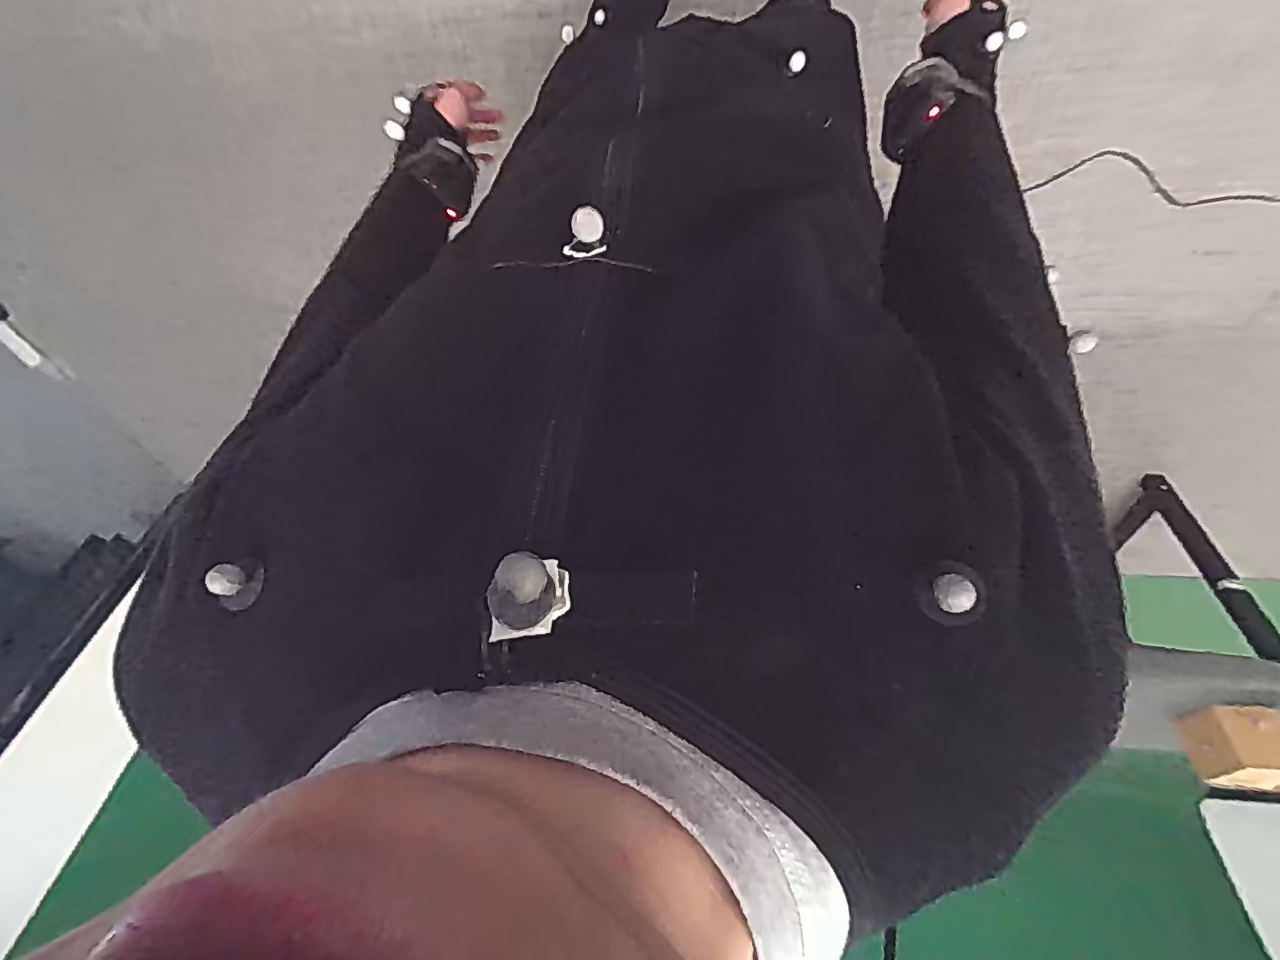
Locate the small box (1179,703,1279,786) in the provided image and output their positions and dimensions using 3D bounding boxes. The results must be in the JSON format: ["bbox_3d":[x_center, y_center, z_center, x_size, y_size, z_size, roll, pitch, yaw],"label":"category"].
[{"bbox_3d":[1.709,0.754,1.543,0.168,0.176,0.179,0,138,8],"label":"small box"}]
